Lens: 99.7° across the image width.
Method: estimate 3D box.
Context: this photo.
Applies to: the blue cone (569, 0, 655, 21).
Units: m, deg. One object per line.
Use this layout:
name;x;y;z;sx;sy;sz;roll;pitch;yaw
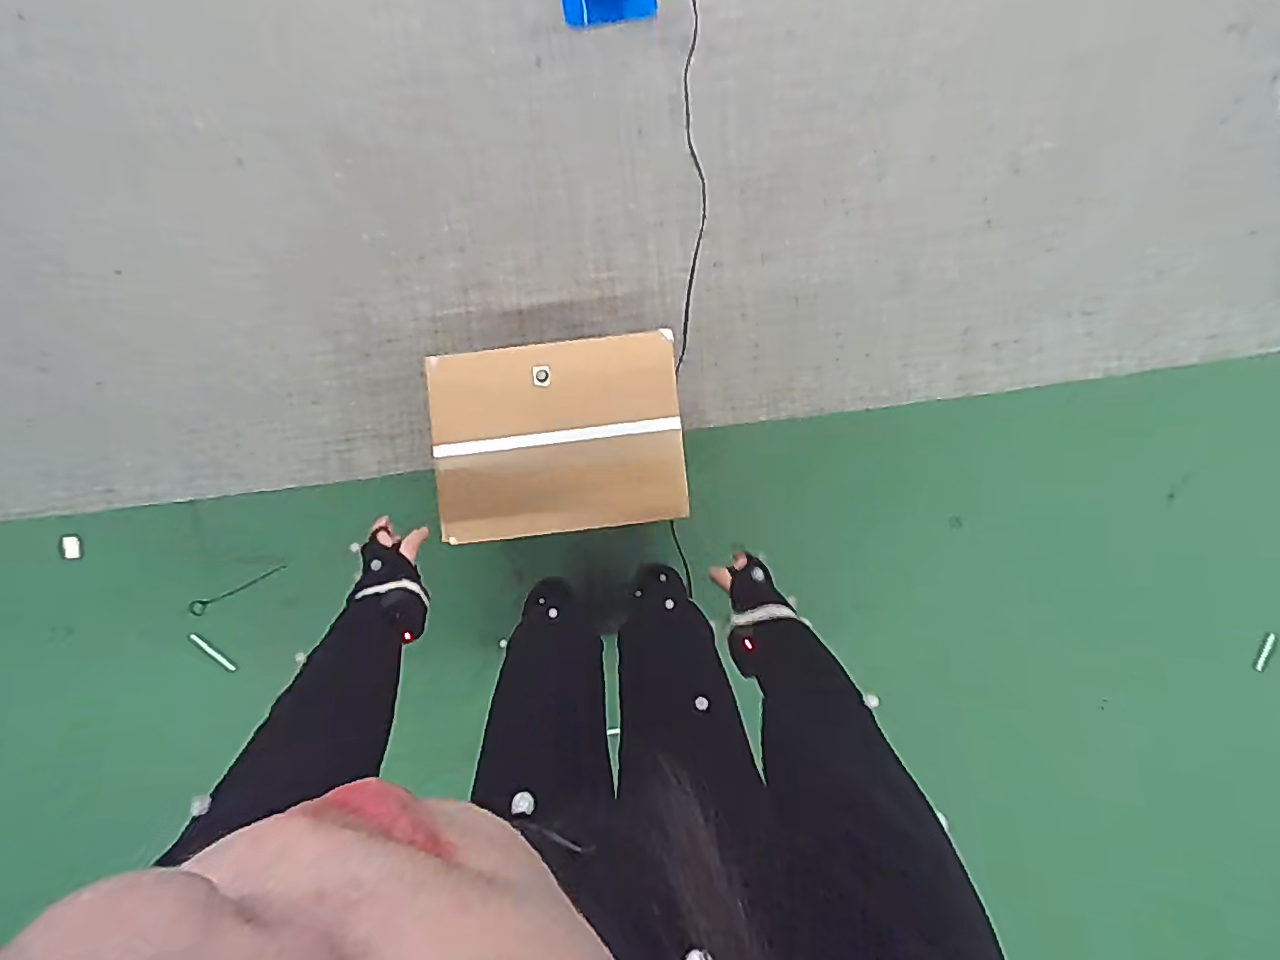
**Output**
blue cone;-0.065;-1.042;0.949;0.193;0.380;0.192;-10;93;1
